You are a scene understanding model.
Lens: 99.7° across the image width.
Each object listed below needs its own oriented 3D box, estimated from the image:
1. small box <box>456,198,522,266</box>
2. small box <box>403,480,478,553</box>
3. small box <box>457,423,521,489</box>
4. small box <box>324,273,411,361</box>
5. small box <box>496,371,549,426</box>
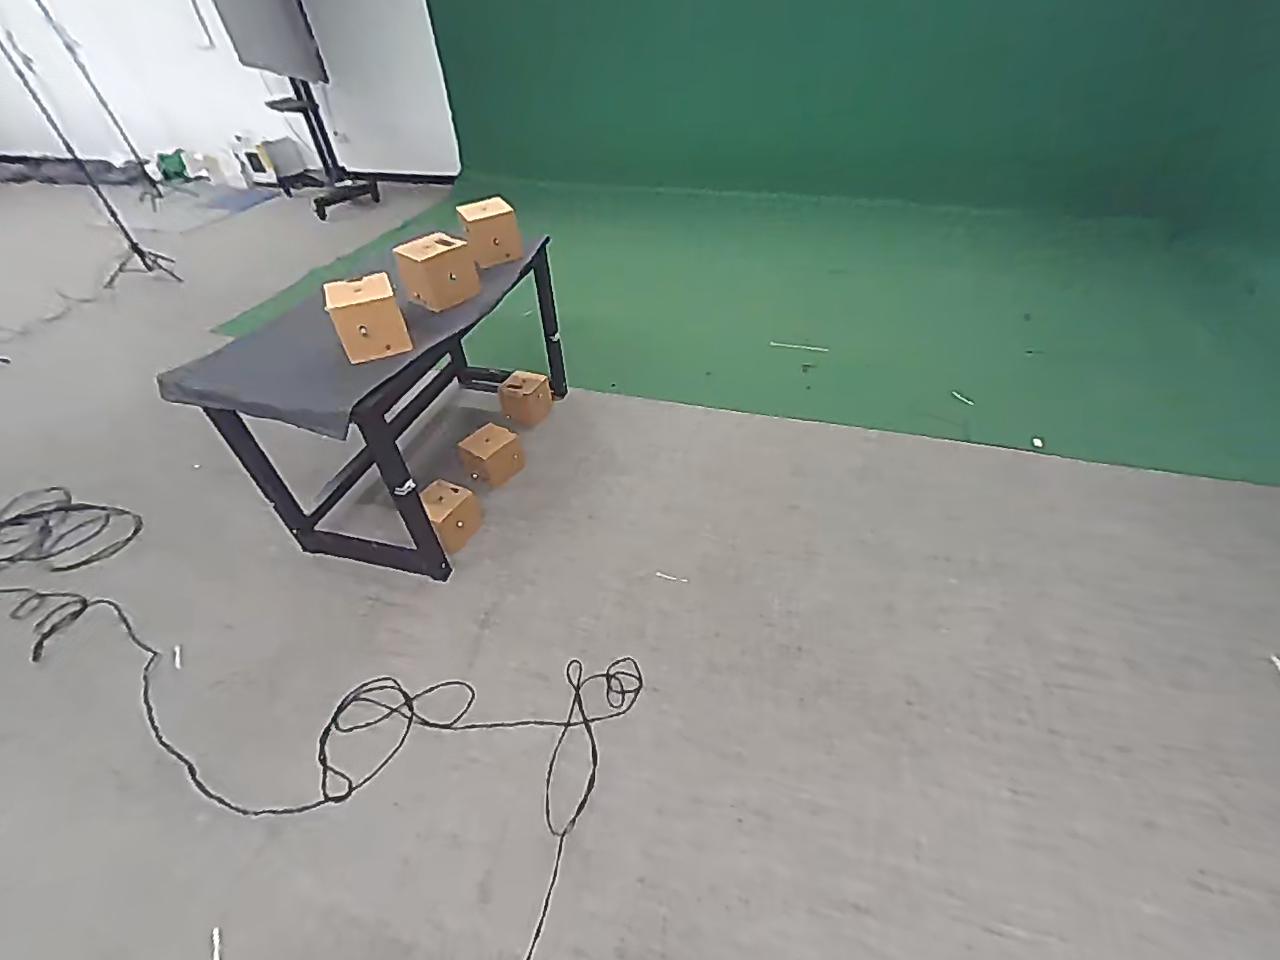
[{"bbox_3d":[-0.545,-0.895,1.962,0.168,0.176,0.179,-23,47,-17],"label":"small box"},{"bbox_3d":[-0.708,0.134,1.944,0.168,0.176,0.179,19,48,20],"label":"small box"},{"bbox_3d":[-0.602,-0.095,2.183,0.168,0.176,0.179,25,51,26],"label":"small box"},{"bbox_3d":[-0.753,-0.447,1.501,0.168,0.176,0.179,-20,46,-19],"label":"small box"},{"bbox_3d":[-0.530,-0.371,2.473,0.168,0.176,0.179,14,45,16],"label":"small box"}]
